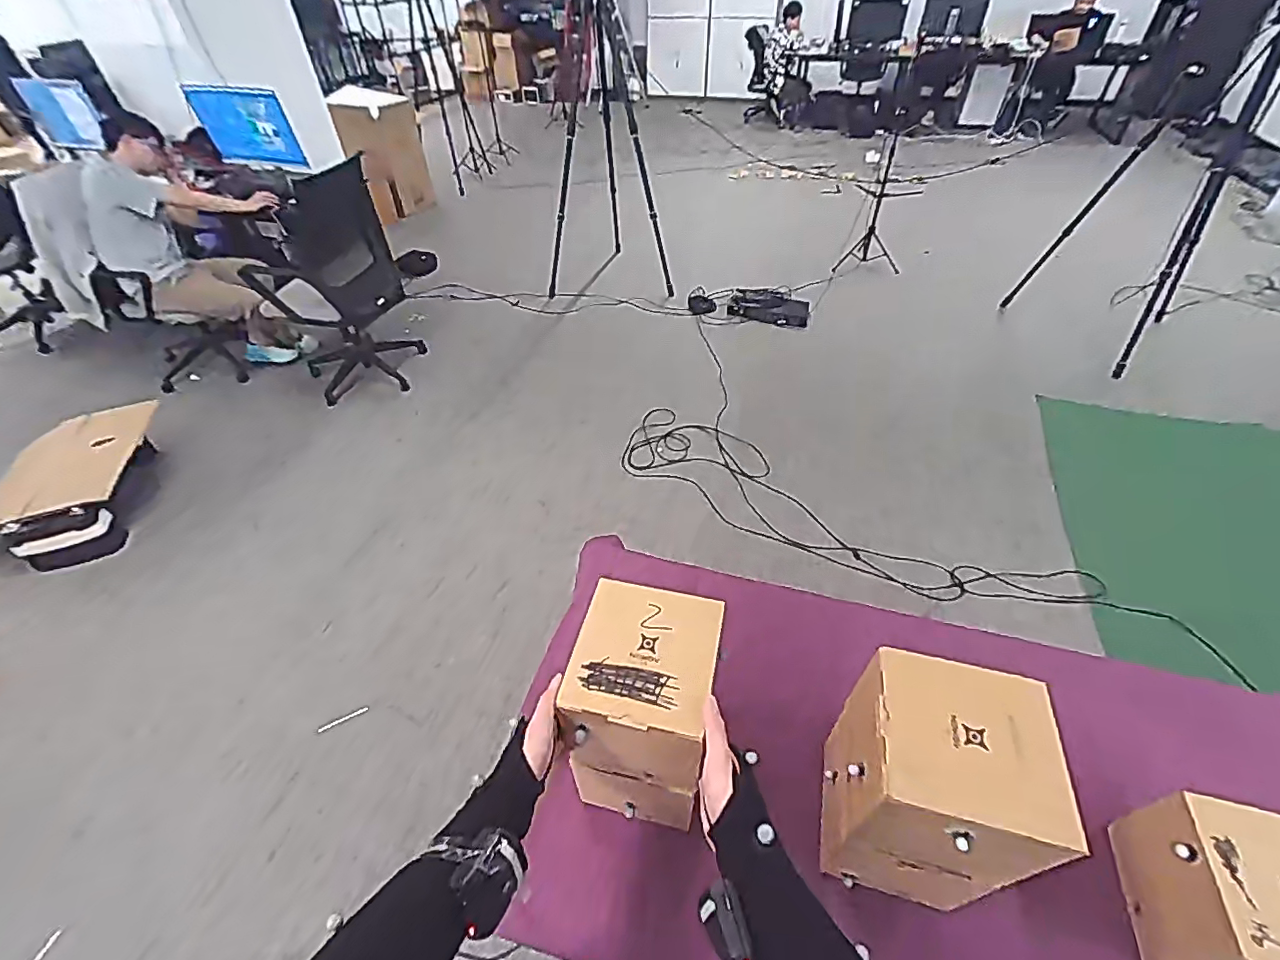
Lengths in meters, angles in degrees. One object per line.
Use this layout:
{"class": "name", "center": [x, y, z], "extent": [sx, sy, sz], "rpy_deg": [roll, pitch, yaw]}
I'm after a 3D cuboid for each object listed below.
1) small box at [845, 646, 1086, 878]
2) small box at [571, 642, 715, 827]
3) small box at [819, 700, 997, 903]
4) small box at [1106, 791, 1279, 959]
{"class": "small box", "center": [0.340, 0.318, 0.610], "extent": [0.179, 0.176, 0.168], "rpy_deg": [11, 47, 11]}
{"class": "small box", "center": [0.009, 0.372, 0.794], "extent": [0.168, 0.176, 0.179], "rpy_deg": [9, 46, 11]}
{"class": "small box", "center": [0.344, 0.433, 0.727], "extent": [0.168, 0.176, 0.179], "rpy_deg": [11, 45, 12]}
{"class": "small box", "center": [0.718, 0.506, 0.641], "extent": [0.179, 0.176, 0.168], "rpy_deg": [11, 45, 13]}
